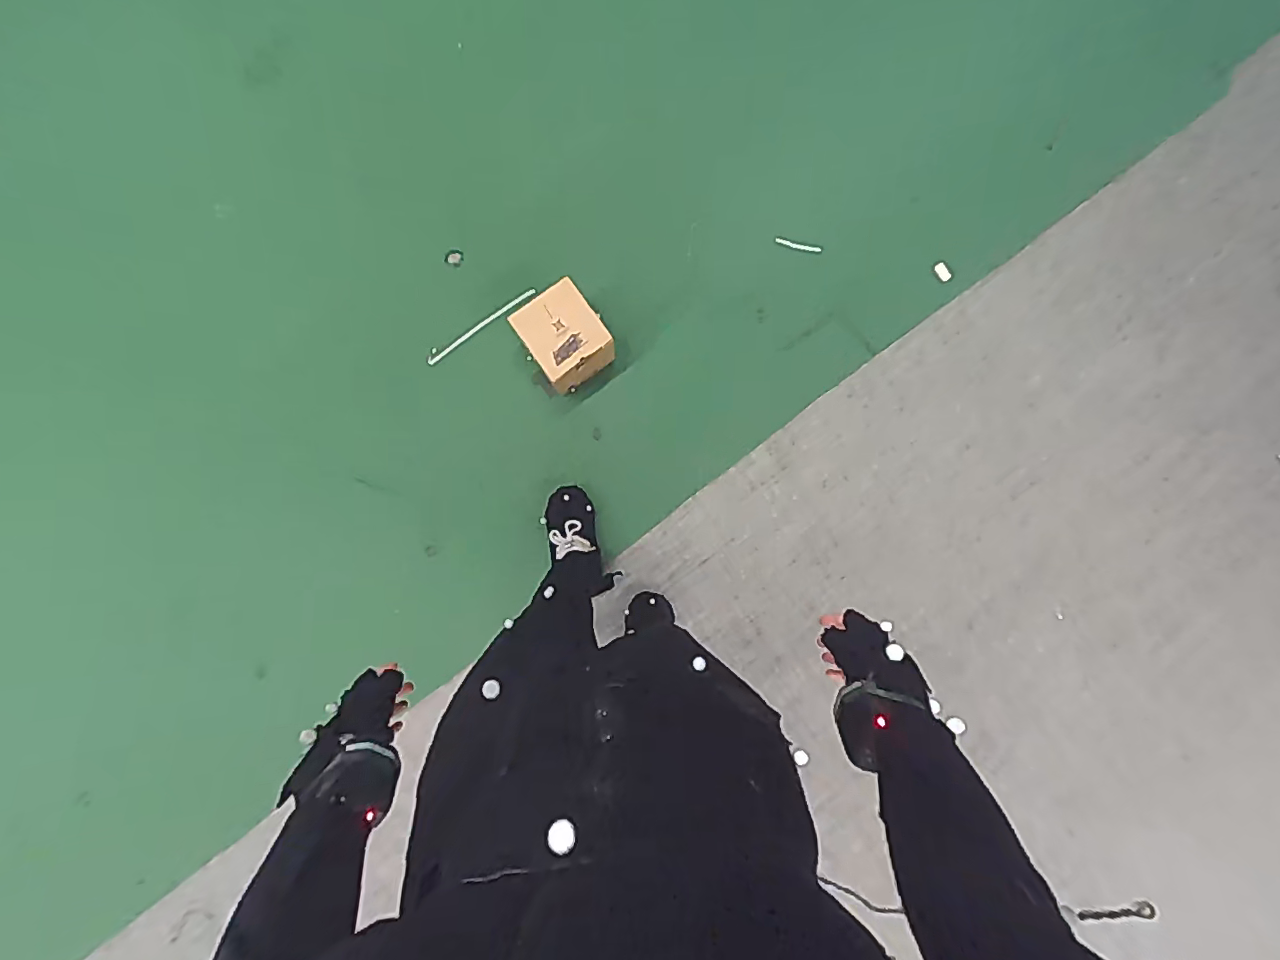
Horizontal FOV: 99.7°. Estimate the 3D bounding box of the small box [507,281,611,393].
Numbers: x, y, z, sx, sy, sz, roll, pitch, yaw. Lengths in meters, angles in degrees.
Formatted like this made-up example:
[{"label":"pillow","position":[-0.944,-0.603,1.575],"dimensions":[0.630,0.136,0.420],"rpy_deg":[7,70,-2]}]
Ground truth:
[{"label":"small box","position":[-0.177,-0.320,1.260],"dimensions":[0.168,0.176,0.179],"rpy_deg":[-36,89,-3]}]
